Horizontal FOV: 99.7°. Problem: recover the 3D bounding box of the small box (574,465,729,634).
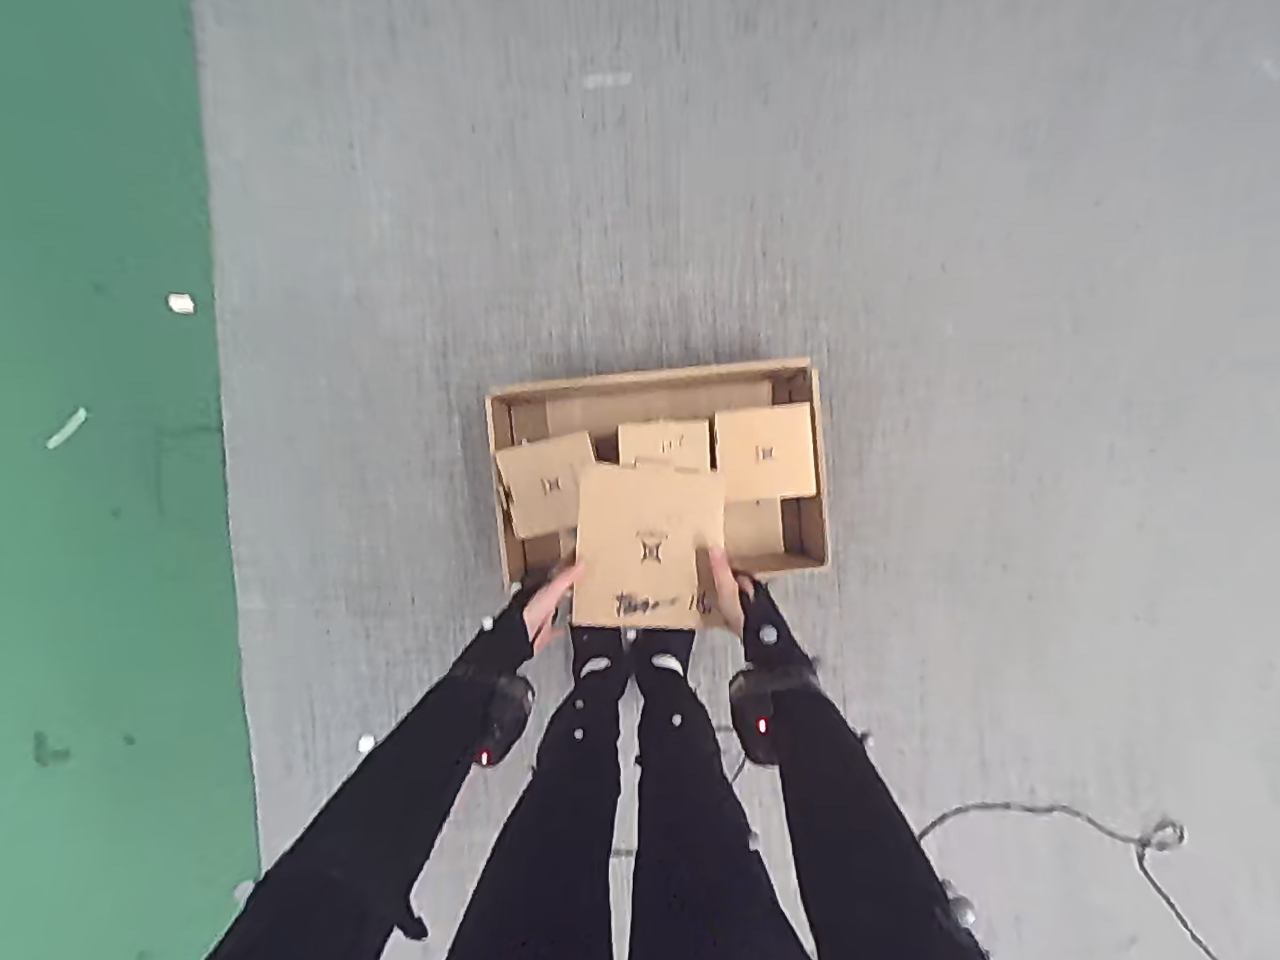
[{"bbox_3d":[0.007,0.092,0.662,0.168,0.176,0.179,4,76,-5],"label":"small box"}]
